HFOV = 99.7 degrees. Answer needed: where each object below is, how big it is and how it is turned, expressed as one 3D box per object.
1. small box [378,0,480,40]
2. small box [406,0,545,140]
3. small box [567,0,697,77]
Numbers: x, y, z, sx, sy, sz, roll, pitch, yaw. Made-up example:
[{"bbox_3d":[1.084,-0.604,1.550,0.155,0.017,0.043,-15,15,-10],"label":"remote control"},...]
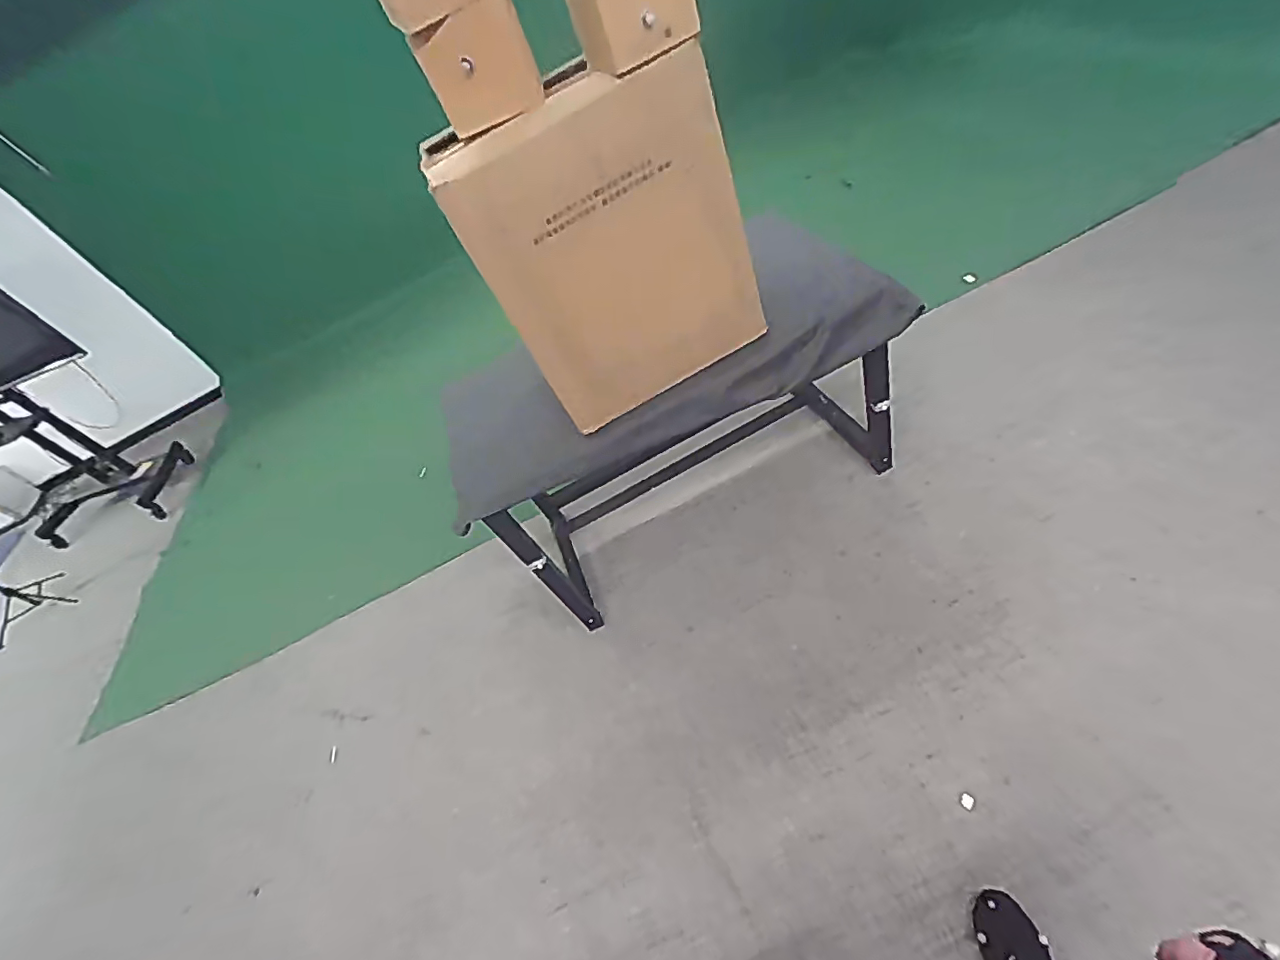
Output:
[{"bbox_3d":[-0.355,-0.840,0.856,0.179,0.176,0.168,-33,53,-4],"label":"small box"},{"bbox_3d":[-0.291,-0.760,0.983,0.179,0.176,0.168,-19,54,9],"label":"small box"},{"bbox_3d":[-0.024,-0.822,0.924,0.168,0.176,0.179,-29,45,-1],"label":"small box"}]
